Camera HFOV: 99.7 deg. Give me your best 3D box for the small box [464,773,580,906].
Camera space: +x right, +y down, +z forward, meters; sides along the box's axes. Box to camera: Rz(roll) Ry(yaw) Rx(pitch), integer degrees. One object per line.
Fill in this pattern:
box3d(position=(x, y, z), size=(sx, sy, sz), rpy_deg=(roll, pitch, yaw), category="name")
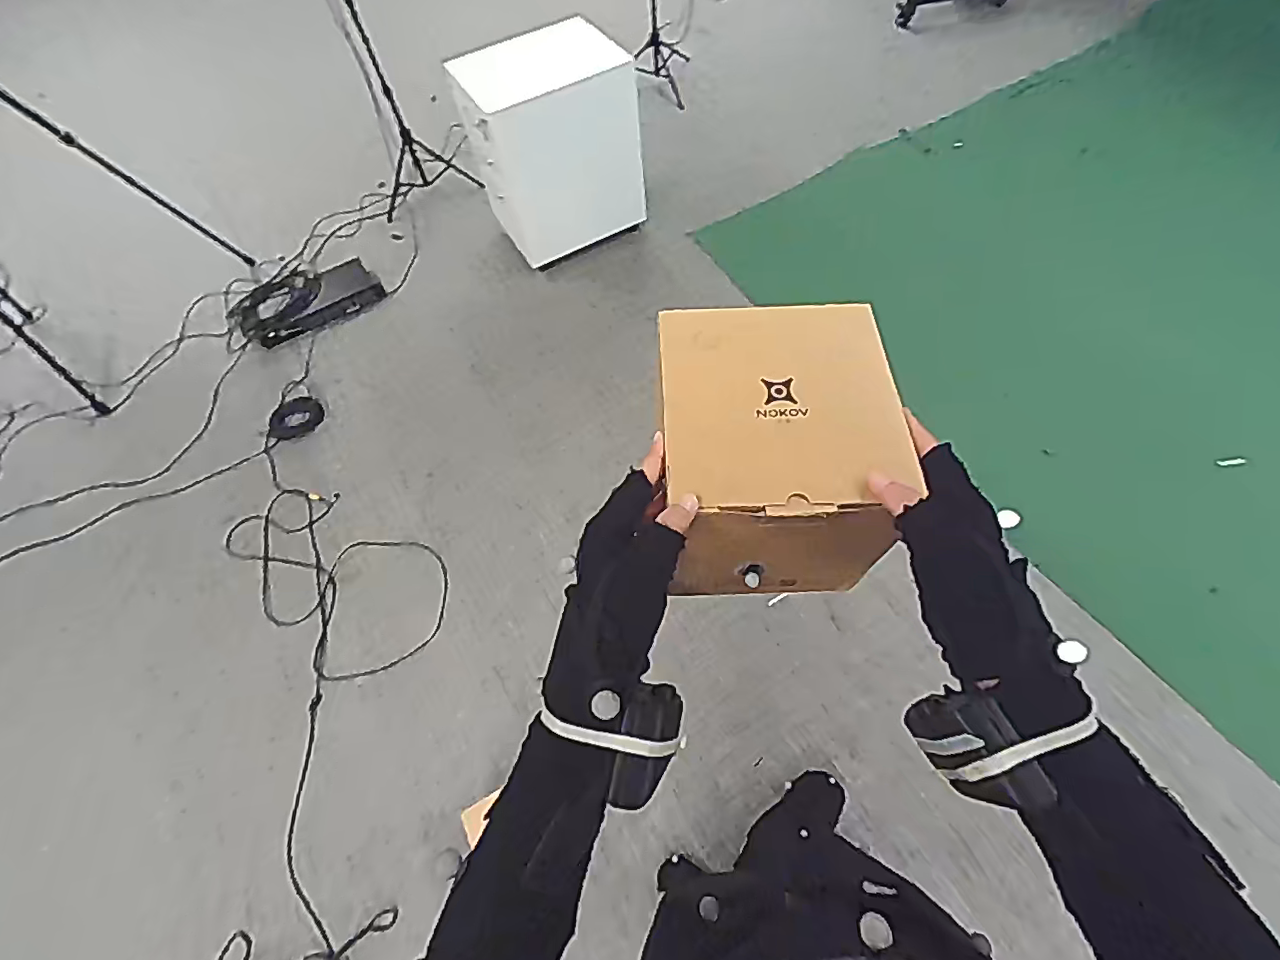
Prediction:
box3d(position=(-0.244, 0.754, 1.155), size=(0.168, 0.176, 0.179), rpy_deg=(-28, 61, -11), category="small box")
